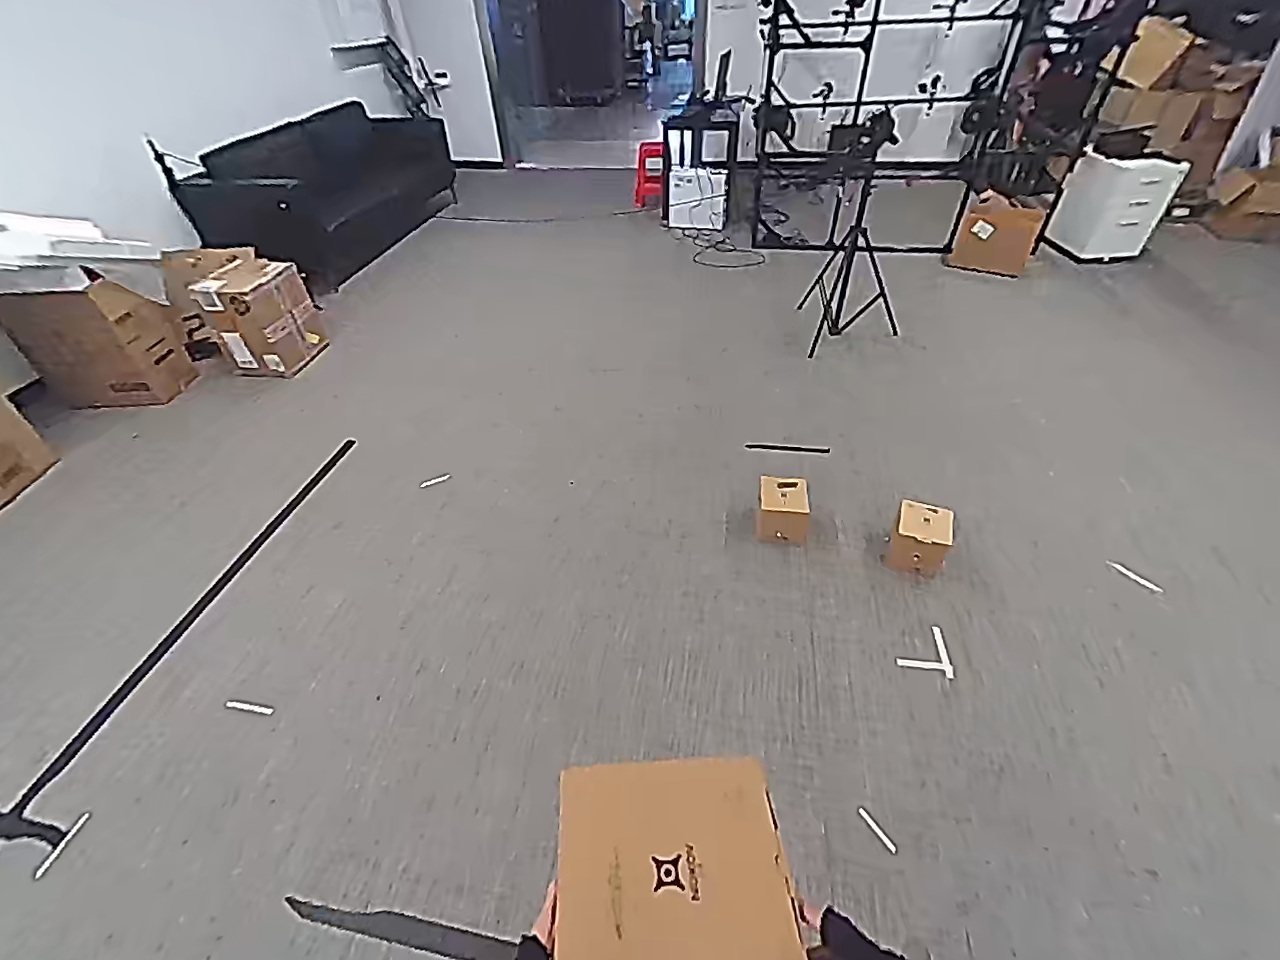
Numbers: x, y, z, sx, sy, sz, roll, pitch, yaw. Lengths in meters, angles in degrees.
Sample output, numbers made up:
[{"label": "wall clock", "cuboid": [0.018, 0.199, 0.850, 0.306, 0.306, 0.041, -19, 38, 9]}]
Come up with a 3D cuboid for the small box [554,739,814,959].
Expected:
[{"label": "small box", "cuboid": [0.024, 0.344, 0.455, 0.179, 0.176, 0.168, -4, 38, -4]}]

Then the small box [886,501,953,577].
[{"label": "small box", "cuboid": [0.964, 0.205, 1.869, 0.168, 0.176, 0.179, 16, 46, 18]}]

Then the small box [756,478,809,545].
[{"label": "small box", "cuboid": [0.521, 0.114, 1.992, 0.168, 0.176, 0.179, 4, 44, 7]}]
